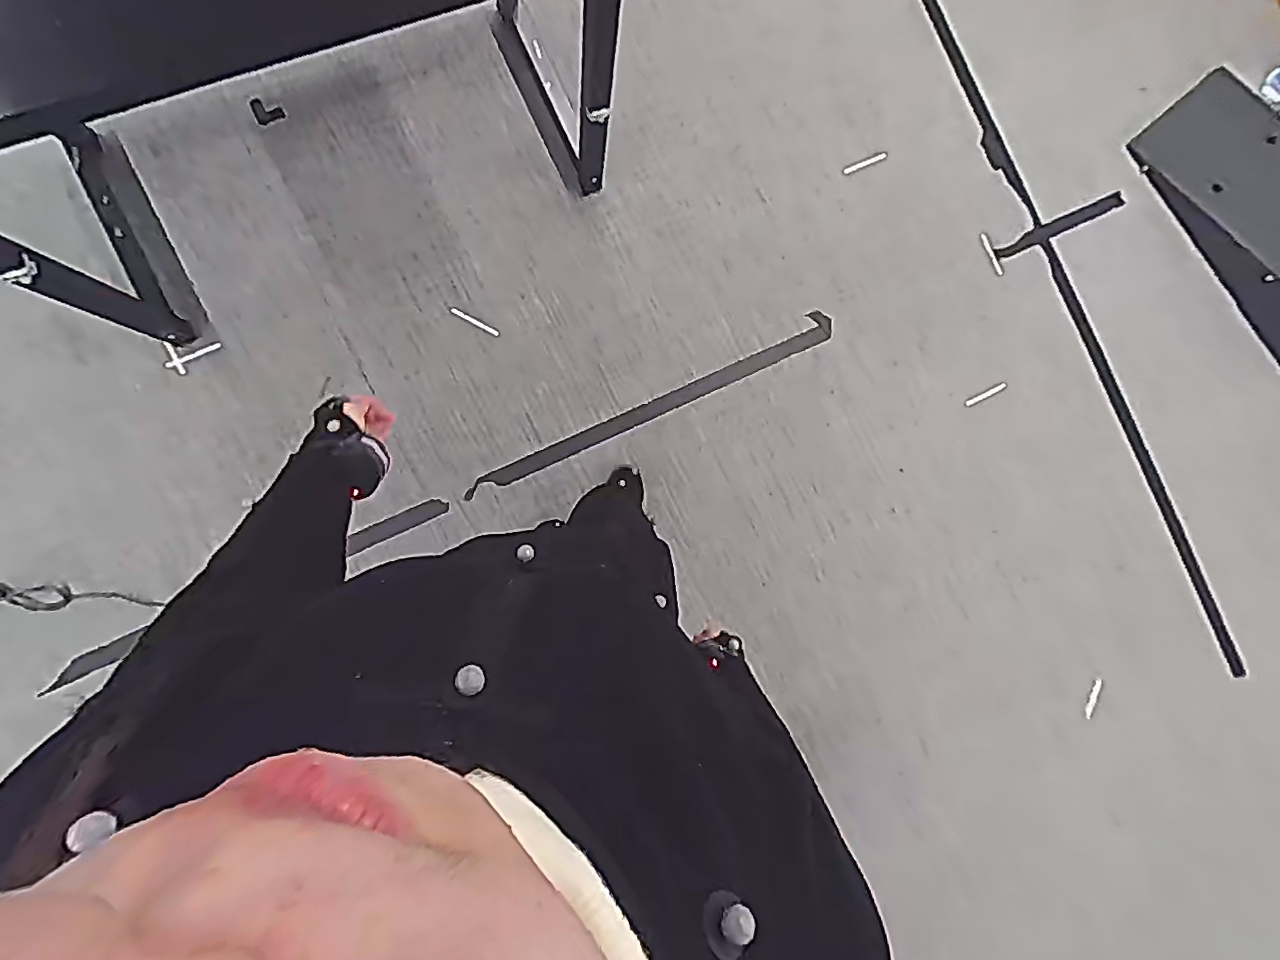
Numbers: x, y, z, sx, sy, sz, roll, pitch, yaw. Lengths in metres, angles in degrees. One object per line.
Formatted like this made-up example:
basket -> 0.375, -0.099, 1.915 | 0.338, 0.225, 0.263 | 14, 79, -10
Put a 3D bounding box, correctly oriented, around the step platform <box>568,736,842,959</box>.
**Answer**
step platform -> 0.165, 0.947, 1.398 | 0.684, 0.204, 0.286 | -20, 90, -9
